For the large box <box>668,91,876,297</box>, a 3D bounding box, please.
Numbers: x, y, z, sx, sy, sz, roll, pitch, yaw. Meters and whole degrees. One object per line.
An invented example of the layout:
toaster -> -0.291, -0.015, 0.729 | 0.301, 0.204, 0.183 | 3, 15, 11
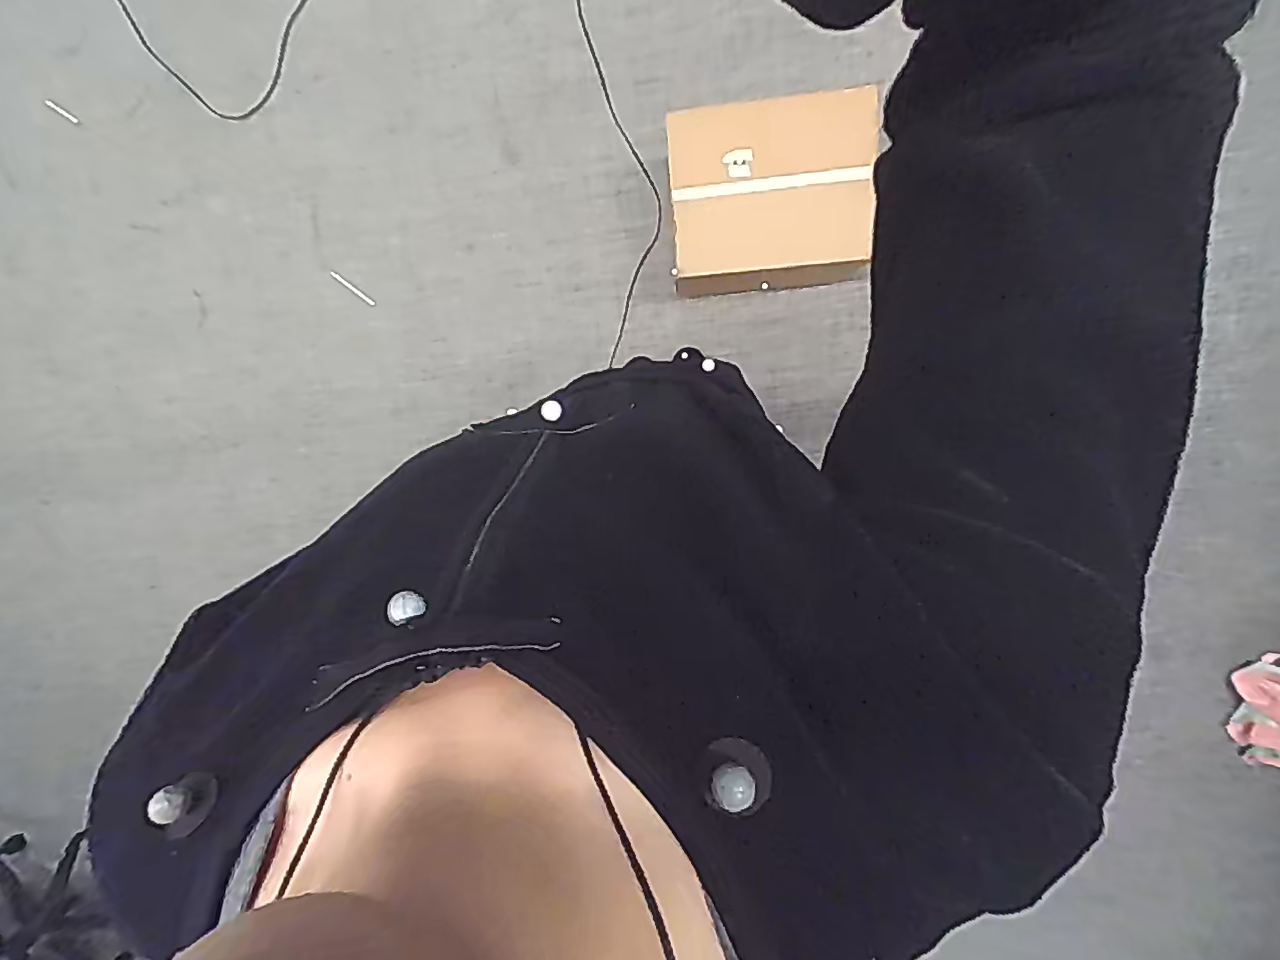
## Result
large box -> 0.280, -0.606, 1.221 | 0.408, 0.320, 0.320 | -3, 101, 7
